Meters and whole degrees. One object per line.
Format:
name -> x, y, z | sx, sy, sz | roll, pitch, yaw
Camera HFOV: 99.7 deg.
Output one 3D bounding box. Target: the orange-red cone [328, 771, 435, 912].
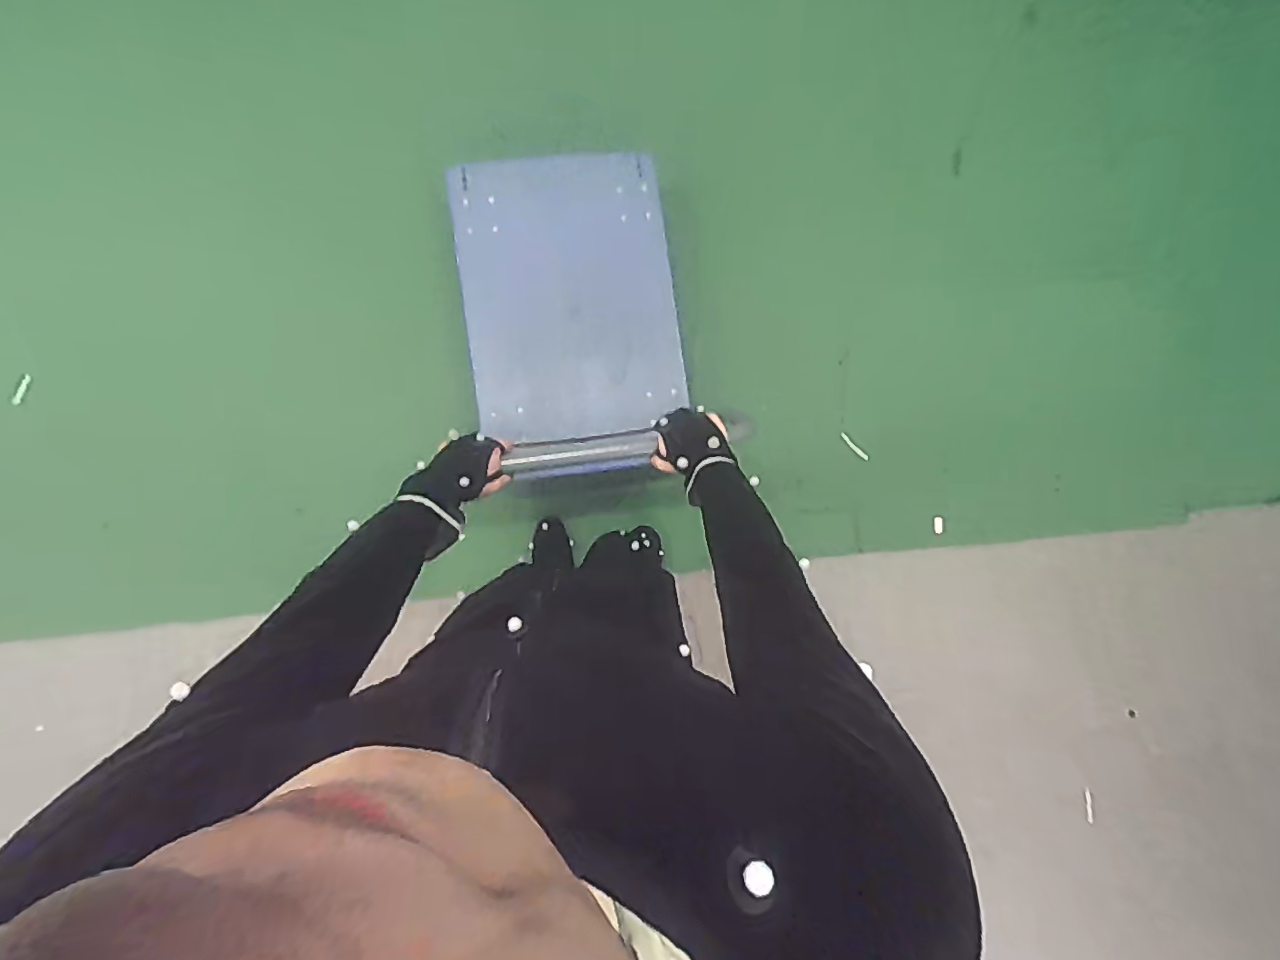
orange-red cone -> -0.682, 0.936, 1.358 | 0.199, 0.360, 0.198 | -19, 89, -5
